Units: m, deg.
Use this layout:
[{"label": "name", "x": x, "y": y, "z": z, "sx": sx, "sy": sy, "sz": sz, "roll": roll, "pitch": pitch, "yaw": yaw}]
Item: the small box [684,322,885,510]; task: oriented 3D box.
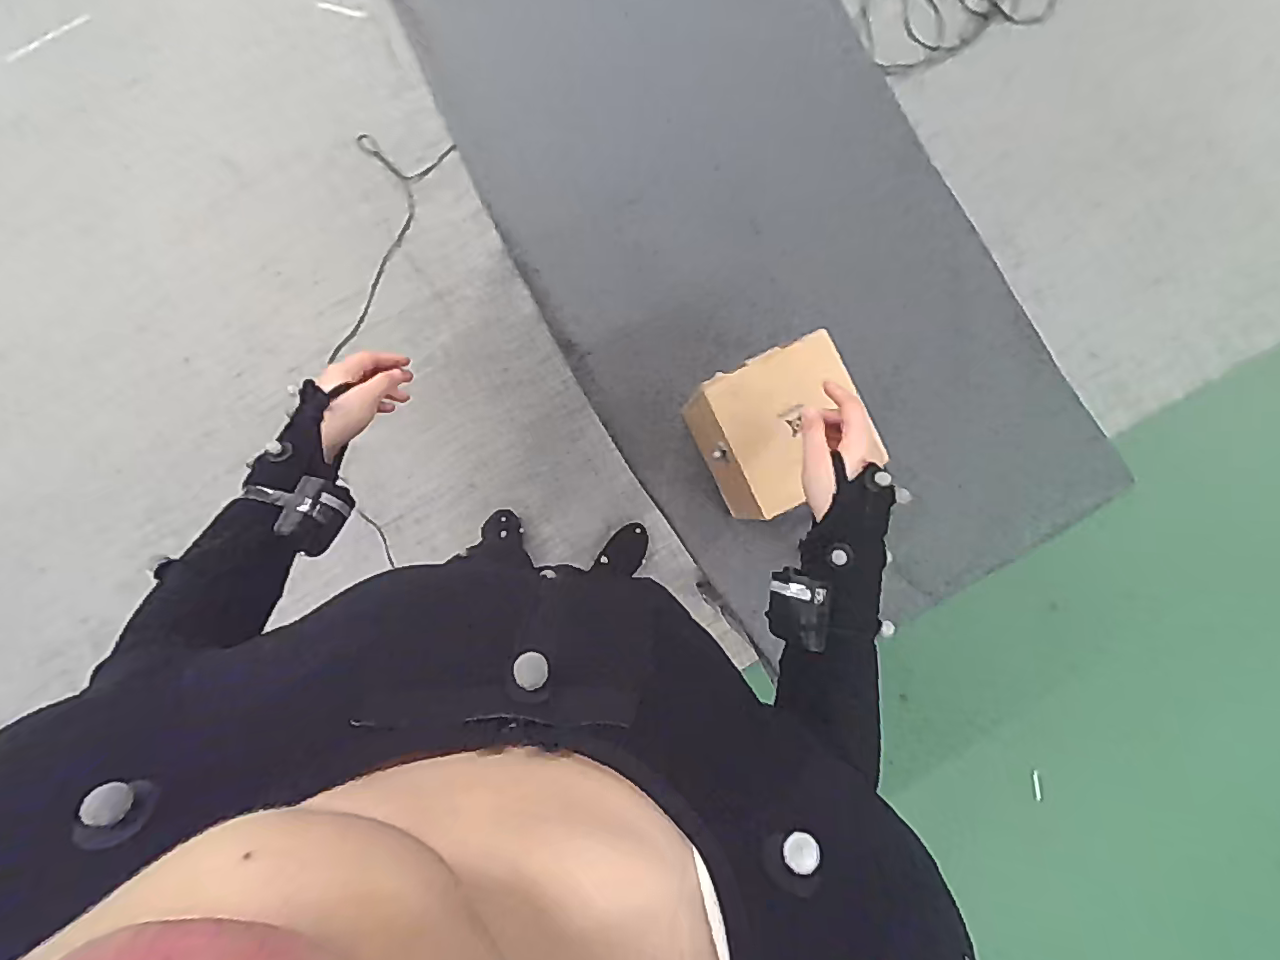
[{"label": "small box", "x": 0.170, "y": -0.069, "z": 0.700, "sx": 0.168, "sy": 0.176, "sz": 0.179, "roll": -26, "pitch": 89, "yaw": -4}]
